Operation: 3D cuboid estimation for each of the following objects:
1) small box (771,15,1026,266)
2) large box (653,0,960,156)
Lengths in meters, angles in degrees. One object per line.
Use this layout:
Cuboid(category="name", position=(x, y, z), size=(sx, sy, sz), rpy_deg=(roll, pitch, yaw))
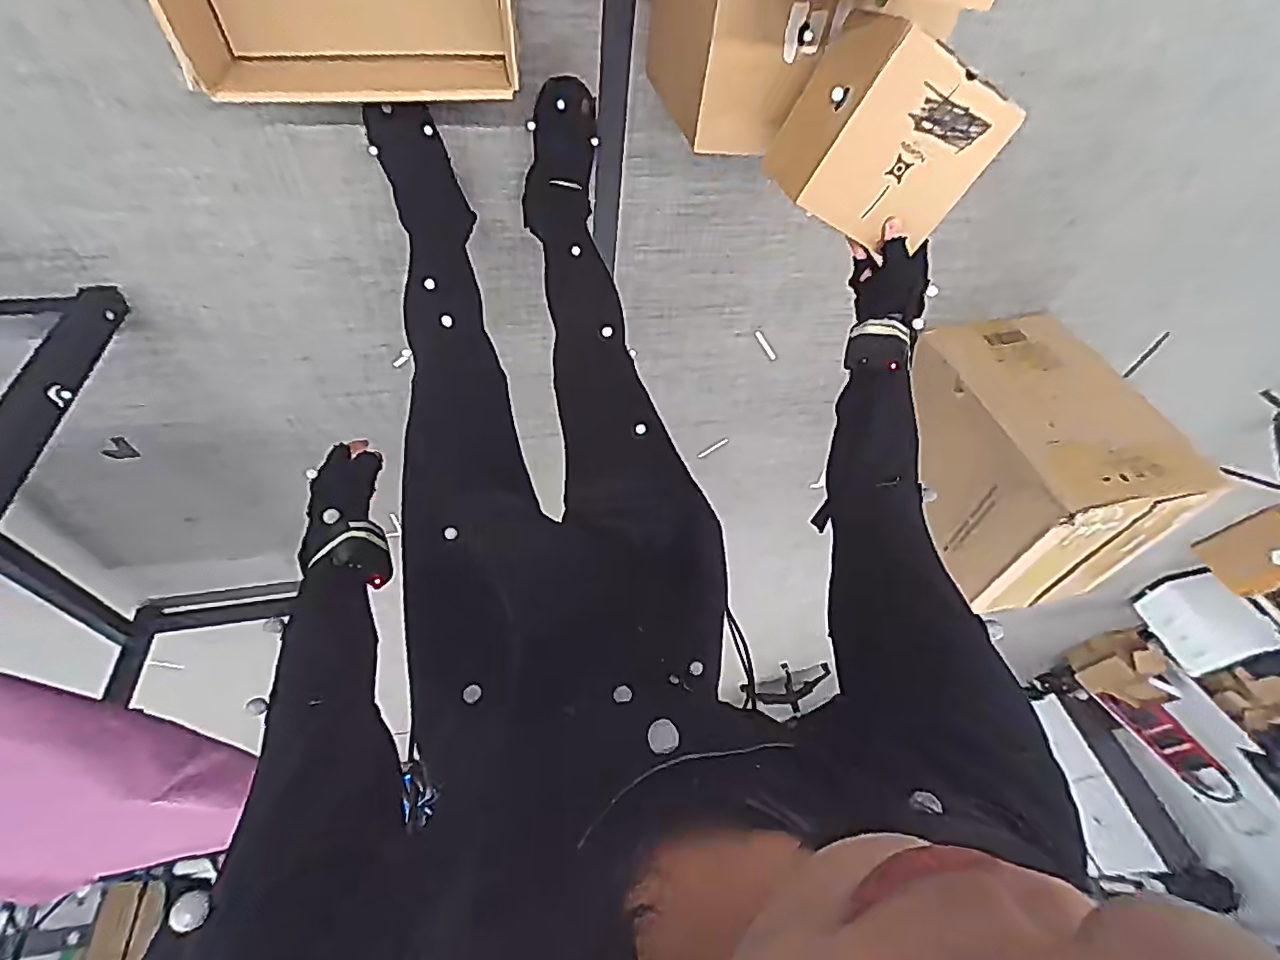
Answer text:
Cuboid(category="small box", position=(0.275, -0.389, 0.621), size=(0.168, 0.176, 0.179), rpy_deg=(19, 130, -20))
Cuboid(category="large box", position=(0.212, -0.692, 0.689), size=(0.320, 0.320, 0.408), rpy_deg=(-5, 143, -11))
